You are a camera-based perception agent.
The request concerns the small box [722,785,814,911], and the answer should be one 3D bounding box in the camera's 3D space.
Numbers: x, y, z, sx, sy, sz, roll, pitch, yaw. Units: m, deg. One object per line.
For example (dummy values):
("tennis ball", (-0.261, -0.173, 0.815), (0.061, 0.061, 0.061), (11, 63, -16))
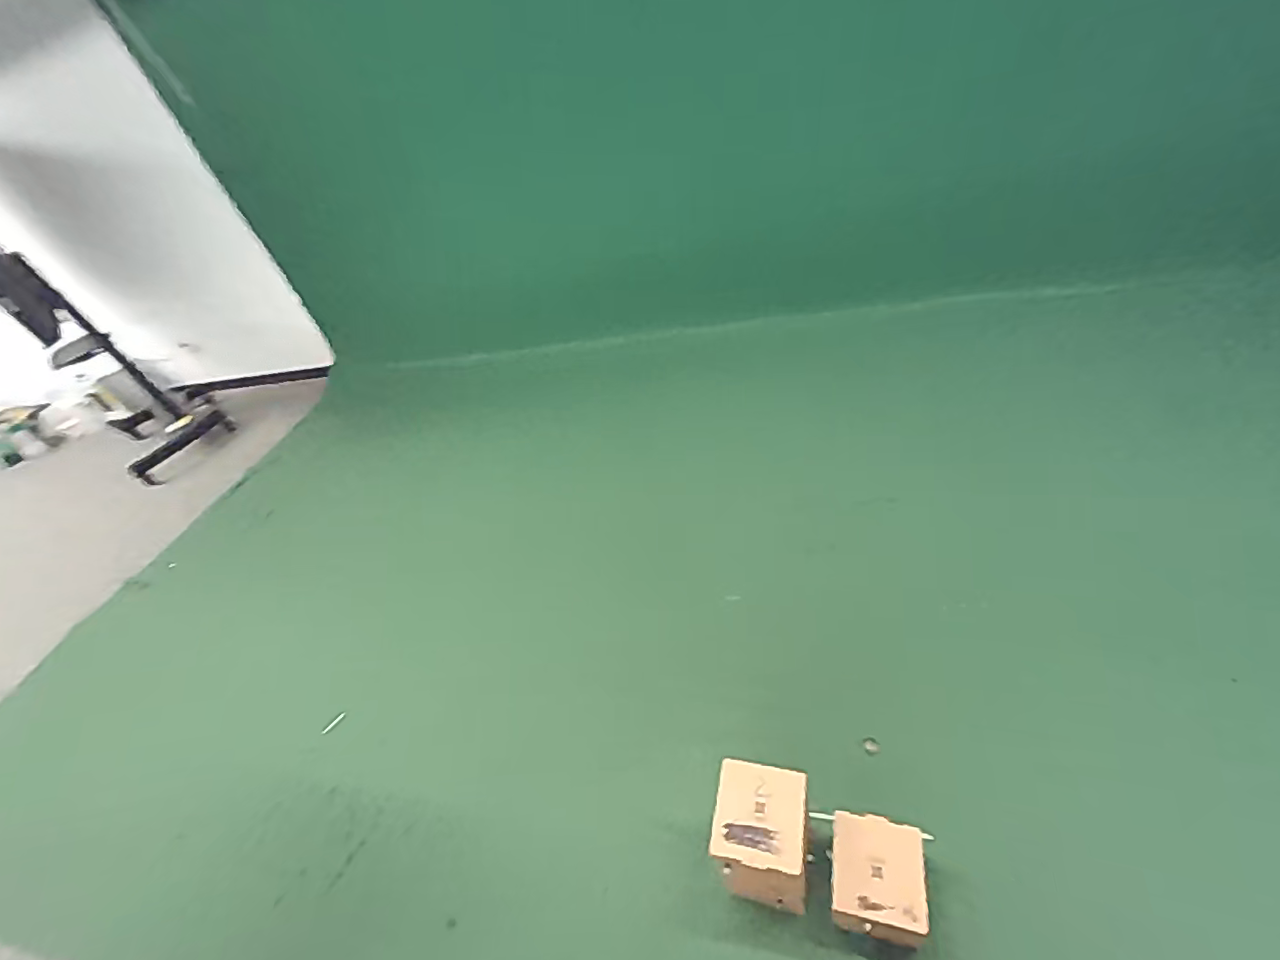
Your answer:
("small box", (0.290, 0.814, 1.194), (0.168, 0.176, 0.179), (2, 45, 23))
